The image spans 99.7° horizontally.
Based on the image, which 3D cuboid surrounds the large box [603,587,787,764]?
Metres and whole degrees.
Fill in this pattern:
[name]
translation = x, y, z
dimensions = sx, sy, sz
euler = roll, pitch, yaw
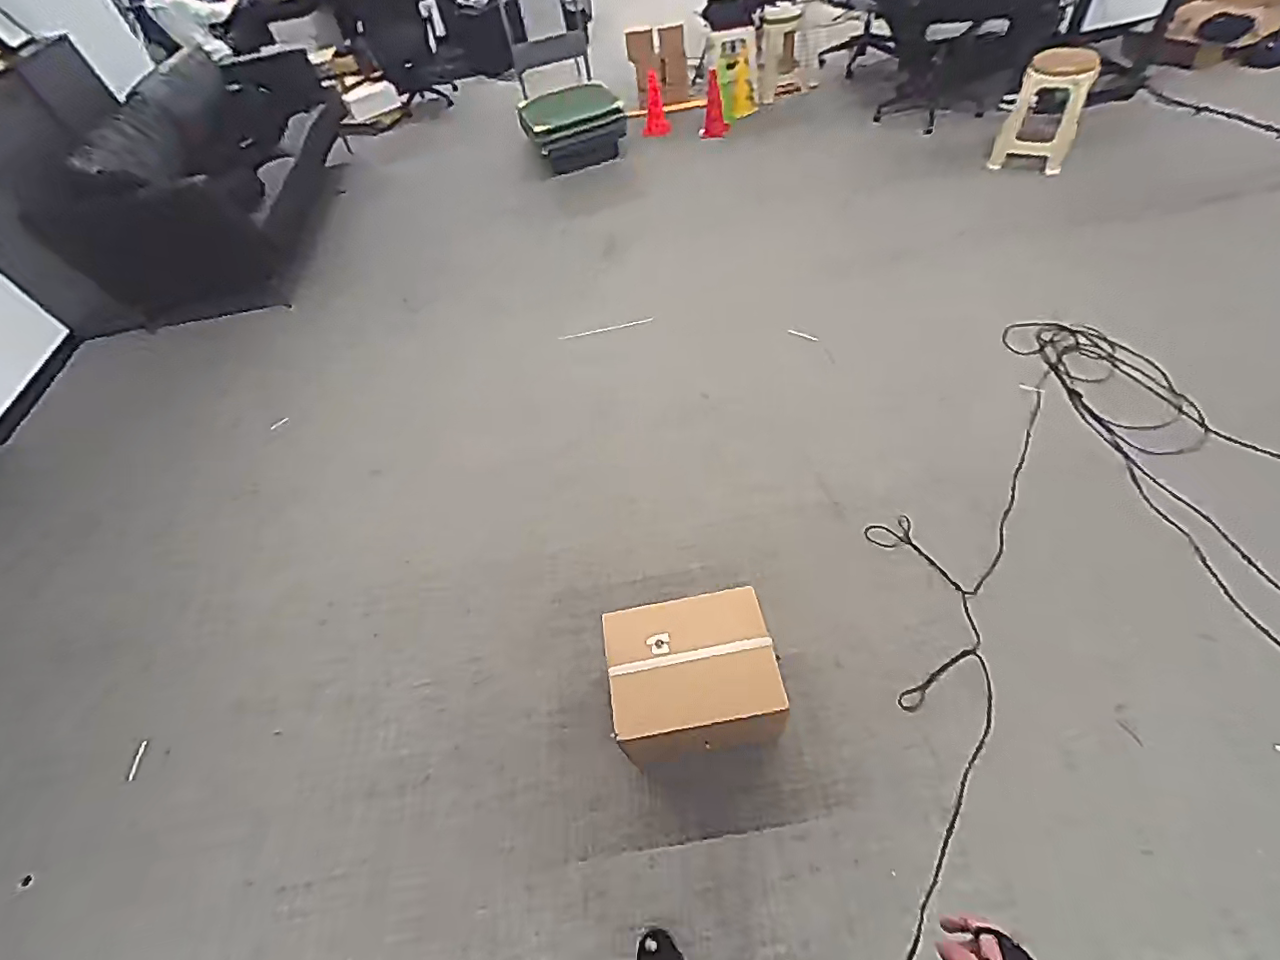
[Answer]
[large box]
translation = 0.142, 0.529, 1.440
dimensions = 0.408, 0.320, 0.320
euler = -13, 51, 1
